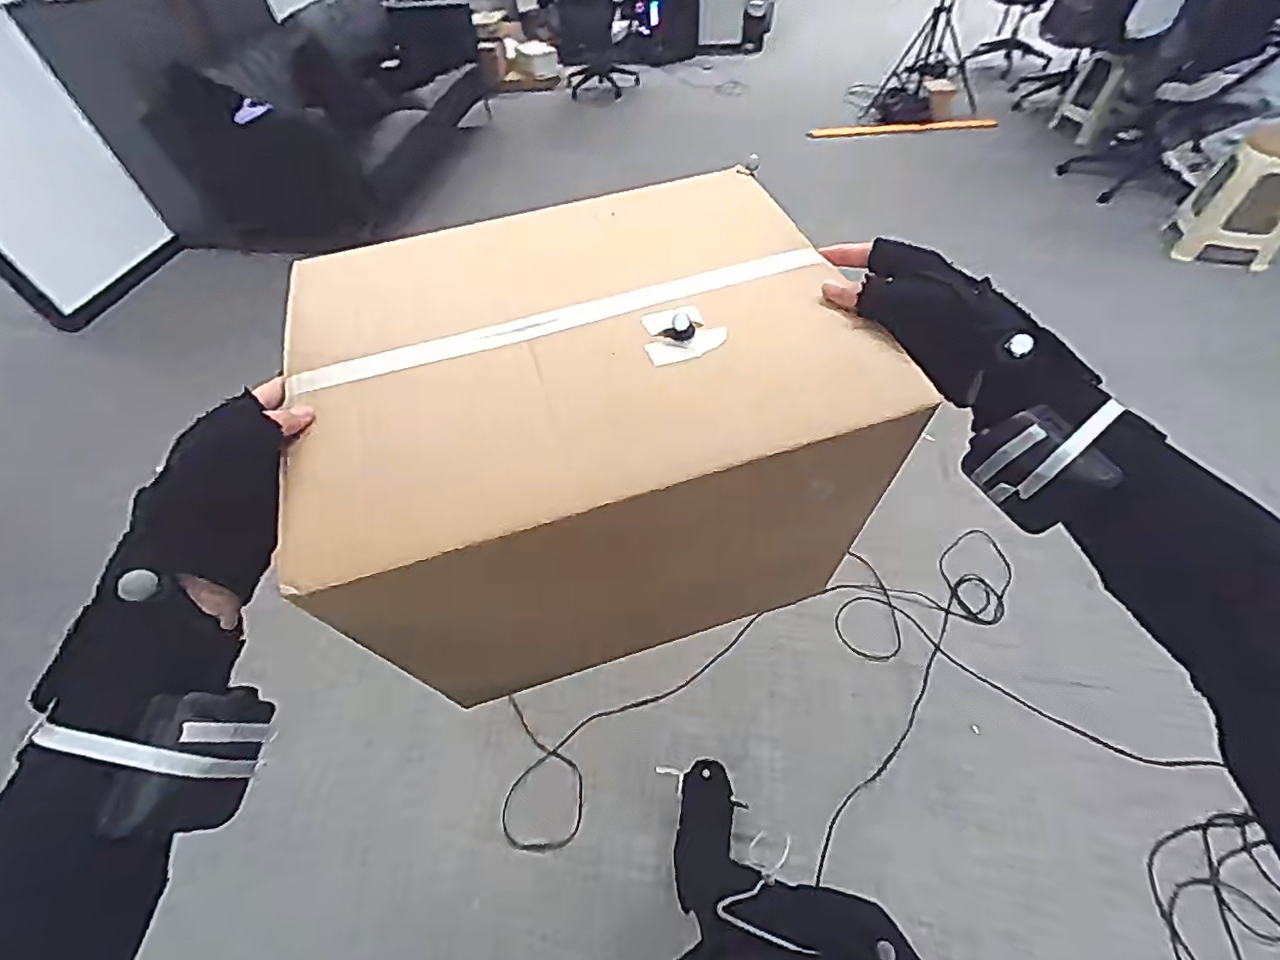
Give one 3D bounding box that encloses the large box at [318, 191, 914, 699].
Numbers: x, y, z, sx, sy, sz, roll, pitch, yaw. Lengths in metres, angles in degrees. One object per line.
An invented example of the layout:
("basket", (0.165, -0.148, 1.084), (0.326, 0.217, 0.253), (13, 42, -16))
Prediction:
("large box", (-0.039, -0.028, 0.543), (0.408, 0.320, 0.320), (-16, 57, -8))
